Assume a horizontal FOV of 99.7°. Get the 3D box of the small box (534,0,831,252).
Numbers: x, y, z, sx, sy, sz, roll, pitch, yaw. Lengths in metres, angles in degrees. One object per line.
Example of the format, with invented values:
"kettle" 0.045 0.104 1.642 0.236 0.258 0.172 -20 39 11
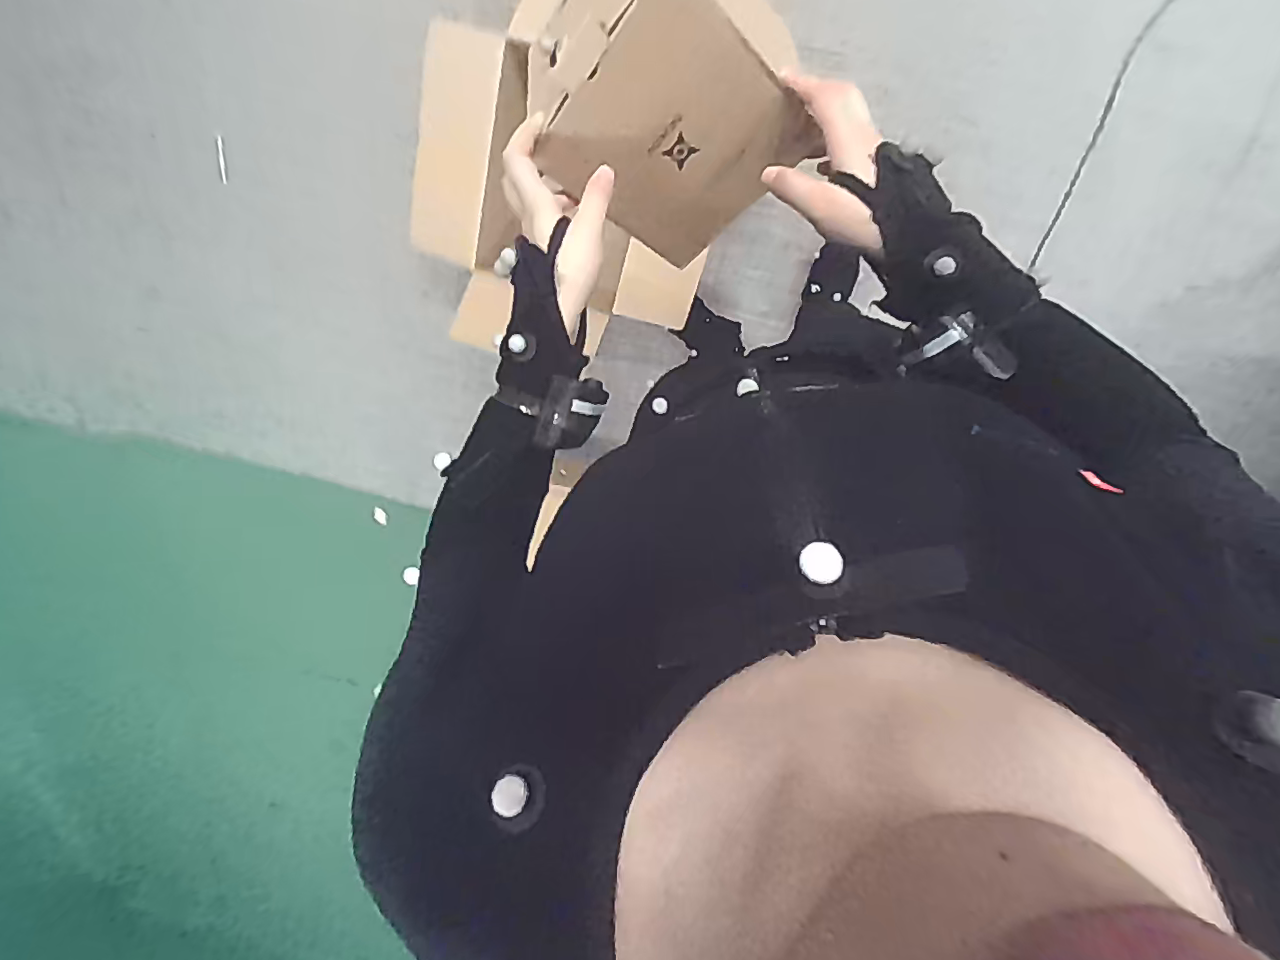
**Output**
"small box" 0.028 -0.344 0.458 0.179 0.176 0.168 18 146 -37
